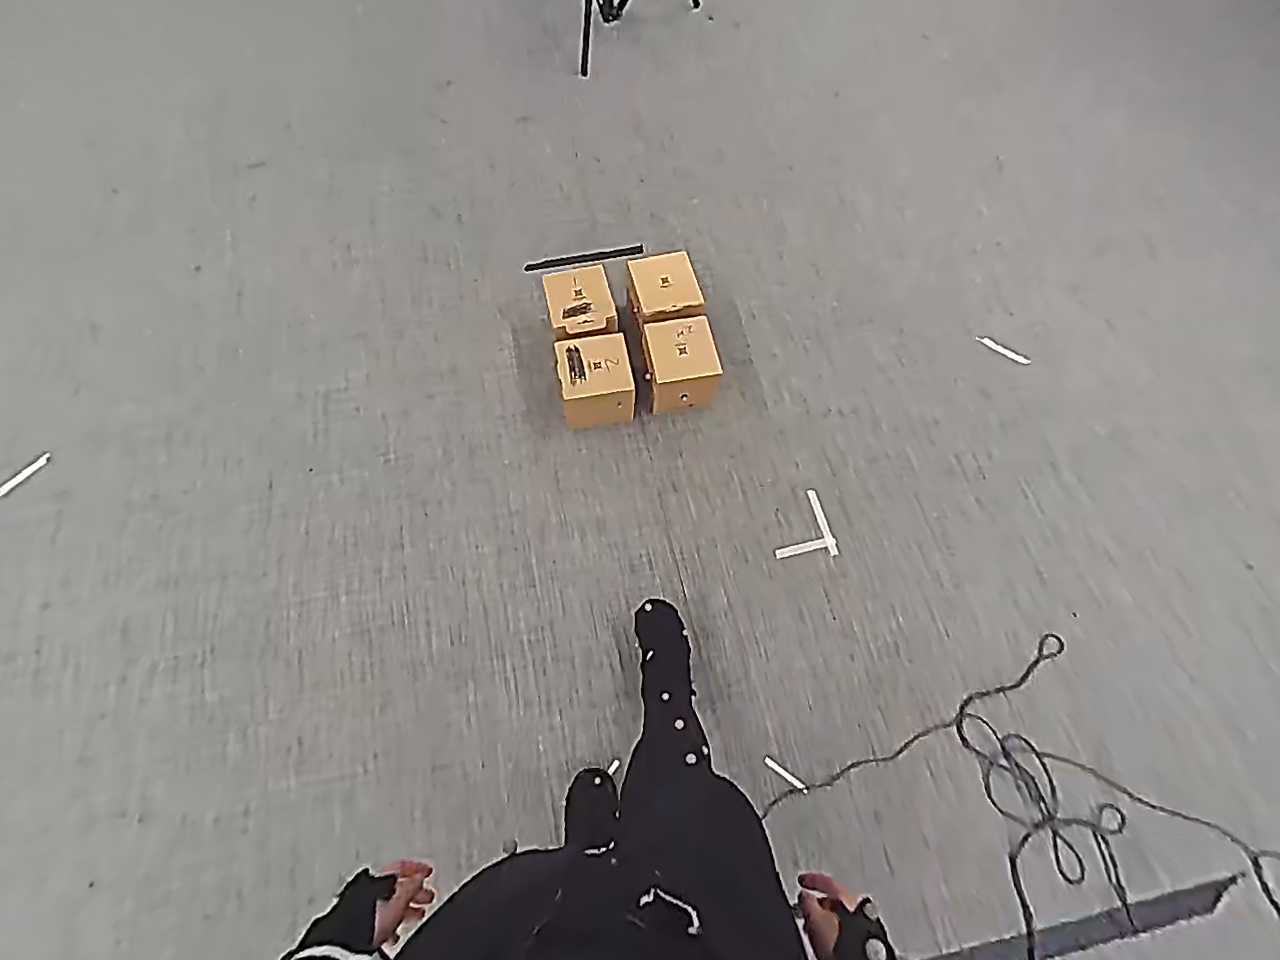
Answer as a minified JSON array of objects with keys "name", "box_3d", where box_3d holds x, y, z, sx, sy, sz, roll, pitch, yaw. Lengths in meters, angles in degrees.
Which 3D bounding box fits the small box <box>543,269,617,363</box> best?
[{"name":"small box","box_3d":[-0.158,-0.433,1.456,0.168,0.176,0.179,-11,68,-7]}]
